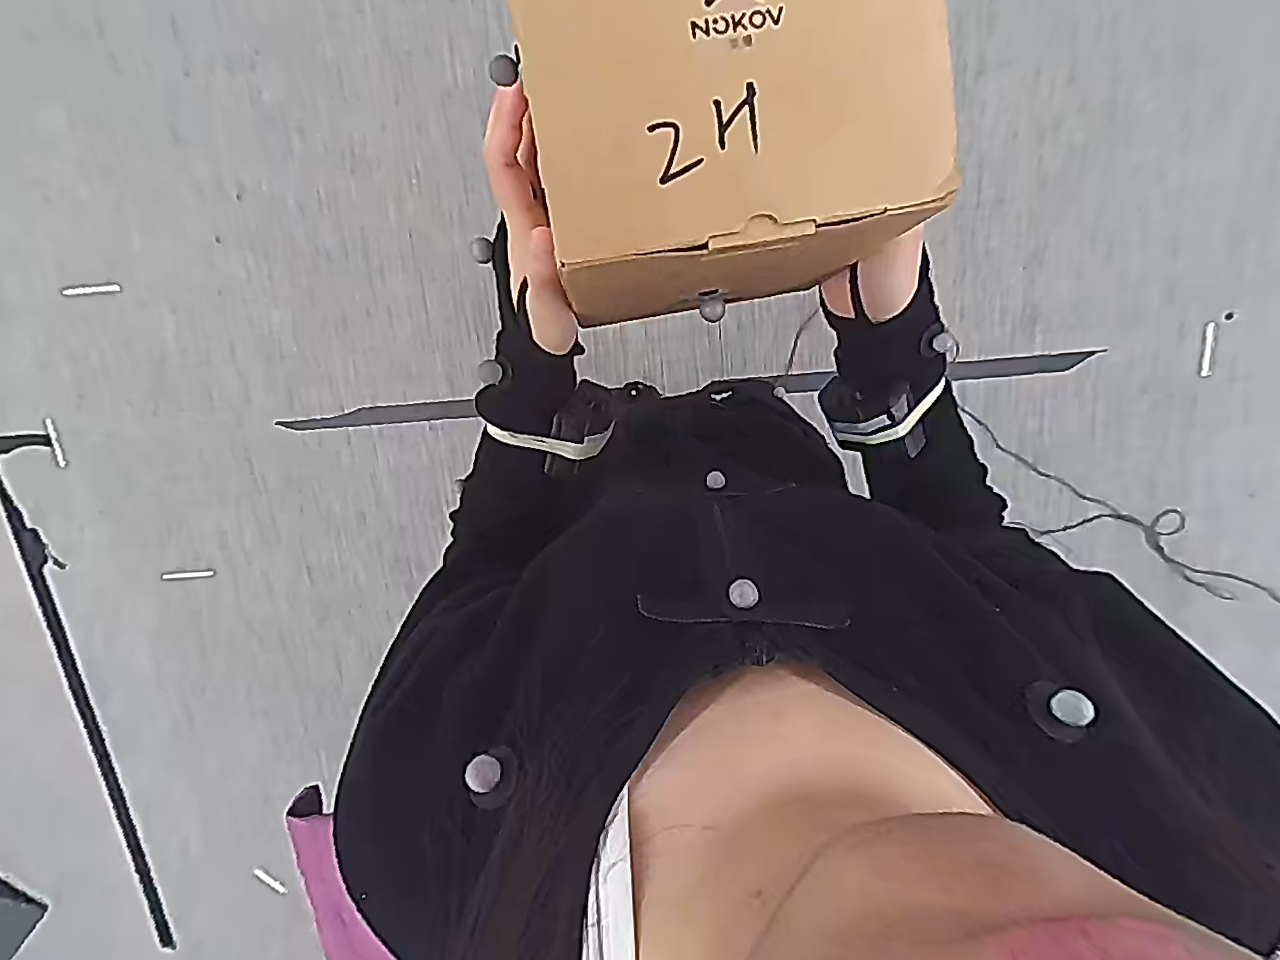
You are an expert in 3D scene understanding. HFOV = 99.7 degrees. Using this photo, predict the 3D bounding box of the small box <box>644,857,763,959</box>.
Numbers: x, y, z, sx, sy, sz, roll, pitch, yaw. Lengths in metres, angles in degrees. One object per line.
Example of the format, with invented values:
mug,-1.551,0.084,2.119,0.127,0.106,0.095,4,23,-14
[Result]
small box,0.093,0.725,0.831,0.168,0.176,0.179,-3,102,-1

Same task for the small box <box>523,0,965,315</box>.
small box,0.031,-0.199,0.281,0.168,0.176,0.179,-10,99,-2
